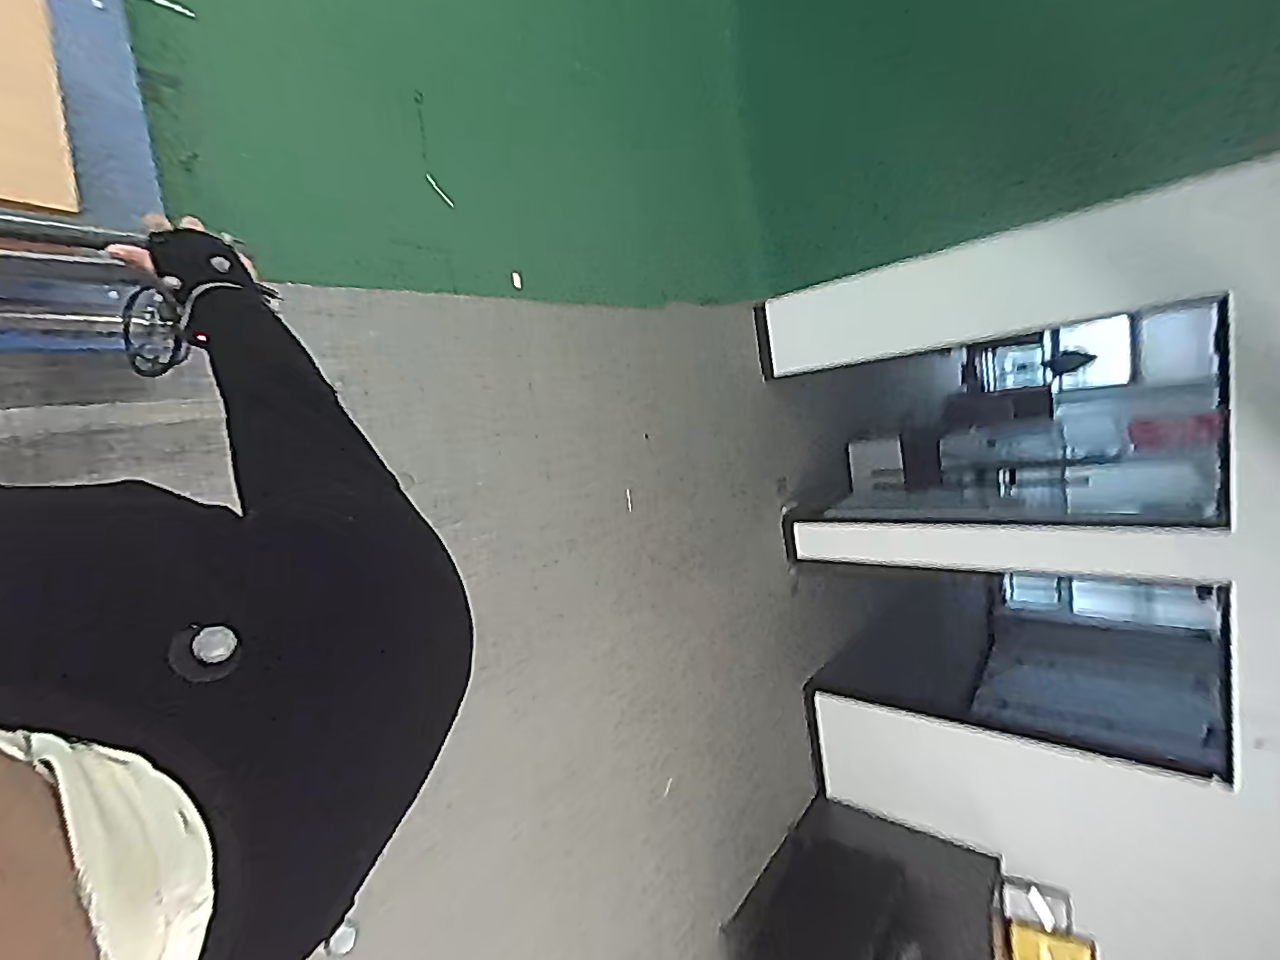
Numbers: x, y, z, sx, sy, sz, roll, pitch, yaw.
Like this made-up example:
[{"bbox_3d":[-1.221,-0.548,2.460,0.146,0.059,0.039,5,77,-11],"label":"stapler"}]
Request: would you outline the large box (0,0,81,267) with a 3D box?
[{"bbox_3d":[-1.095,-0.582,0.805,0.320,0.320,0.408,-10,95,-49],"label":"large box"}]
